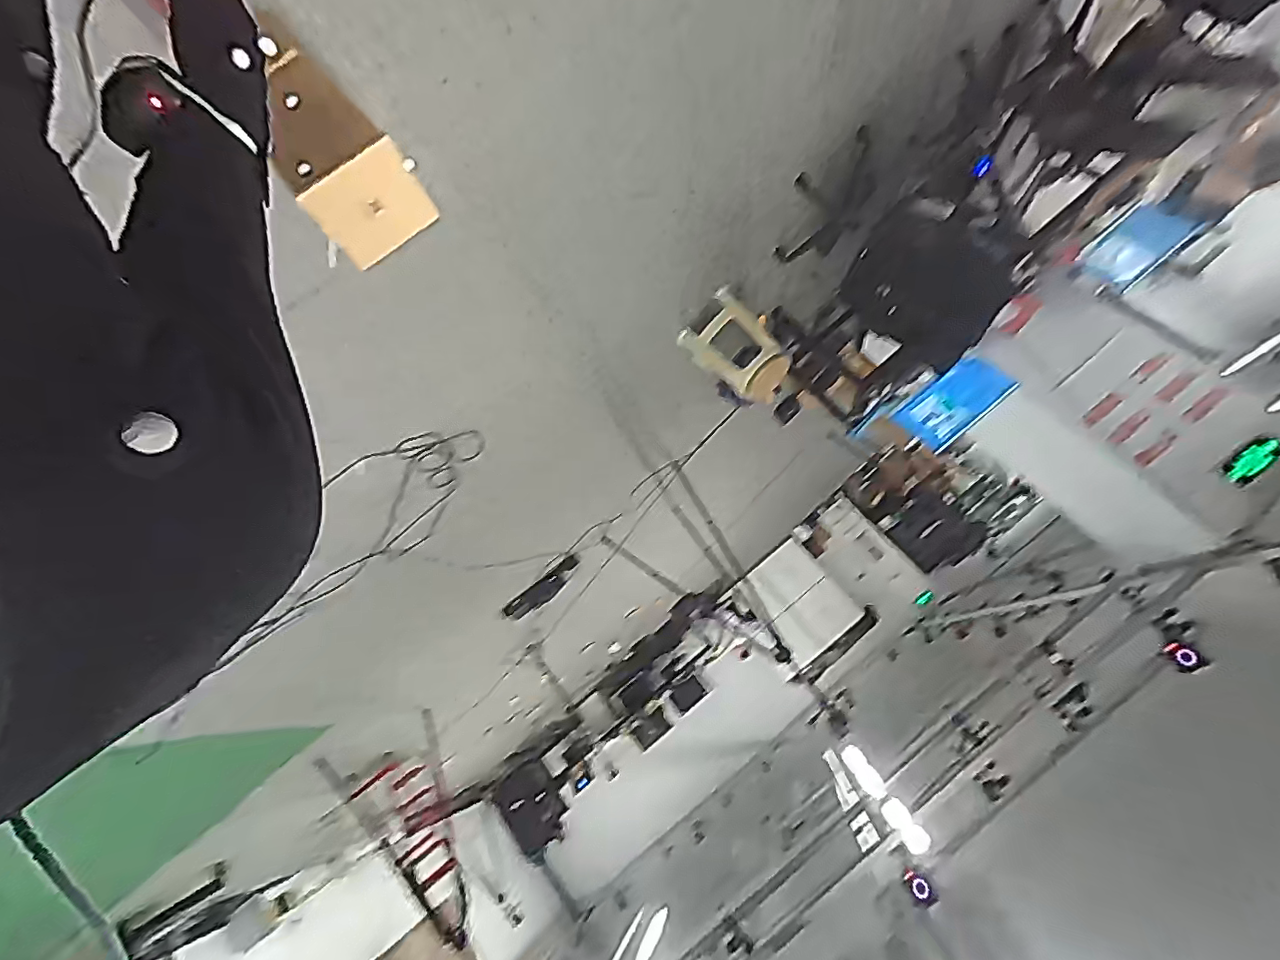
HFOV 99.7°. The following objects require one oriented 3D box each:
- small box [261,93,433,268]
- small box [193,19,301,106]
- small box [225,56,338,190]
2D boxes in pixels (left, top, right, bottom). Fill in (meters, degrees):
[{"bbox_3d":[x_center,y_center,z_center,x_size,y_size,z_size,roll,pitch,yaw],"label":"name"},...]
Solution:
[{"bbox_3d":[-0.505,-0.519,0.939,0.179,0.176,0.168,-38,158,-5],"label":"small box"},{"bbox_3d":[-0.711,-0.747,1.053,0.168,0.176,0.179,-39,158,-4],"label":"small box"},{"bbox_3d":[-0.610,-0.629,0.998,0.179,0.176,0.168,-38,158,-5],"label":"small box"}]
